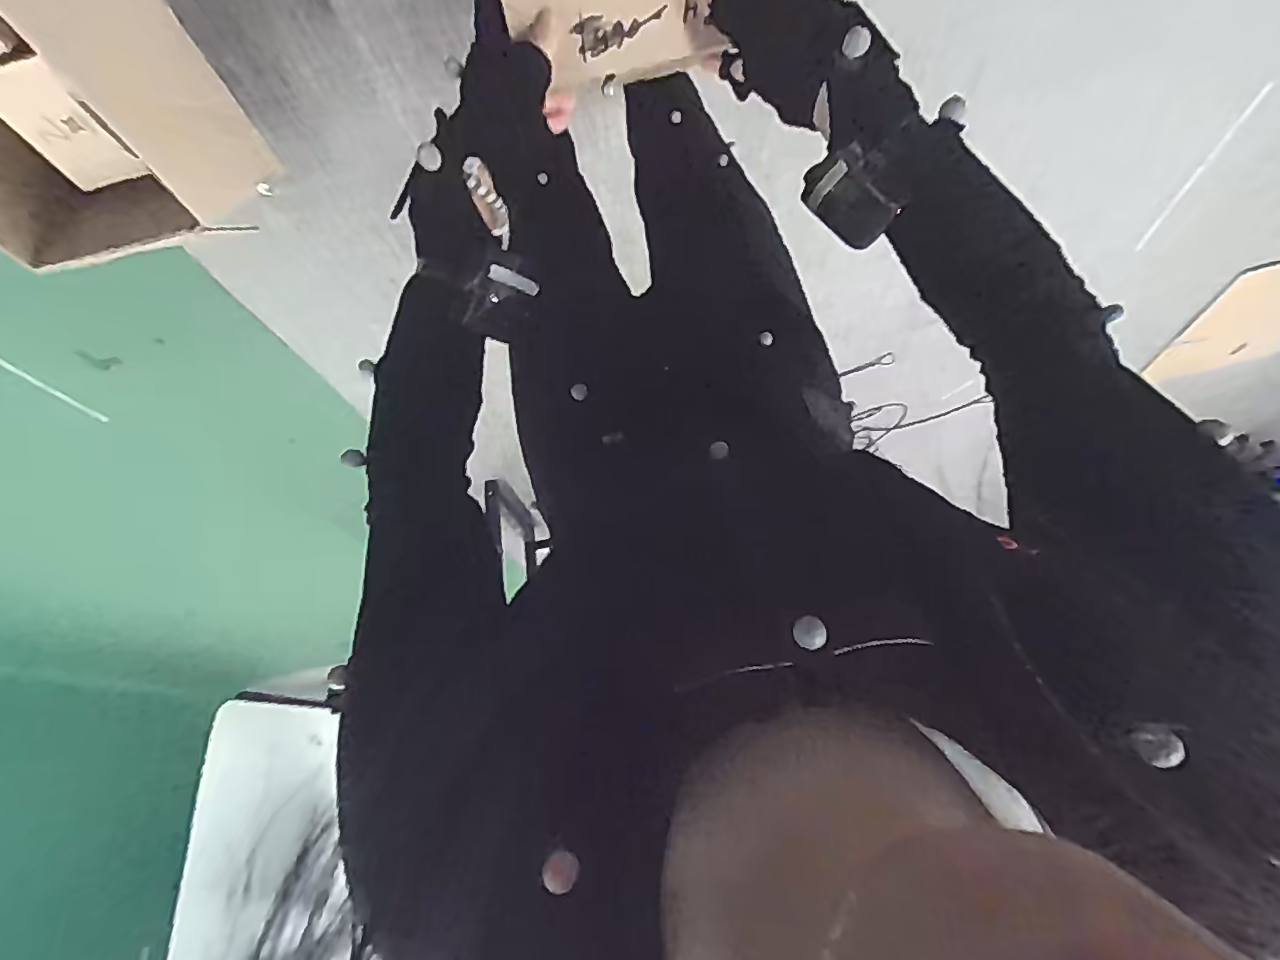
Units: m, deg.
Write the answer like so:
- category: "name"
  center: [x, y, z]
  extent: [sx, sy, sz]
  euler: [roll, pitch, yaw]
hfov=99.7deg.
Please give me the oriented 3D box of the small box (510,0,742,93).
- category: "small box"
  center: [-0.027, -0.423, 0.418]
  extent: [0.168, 0.176, 0.179]
  euler: [-11, 123, -1]
